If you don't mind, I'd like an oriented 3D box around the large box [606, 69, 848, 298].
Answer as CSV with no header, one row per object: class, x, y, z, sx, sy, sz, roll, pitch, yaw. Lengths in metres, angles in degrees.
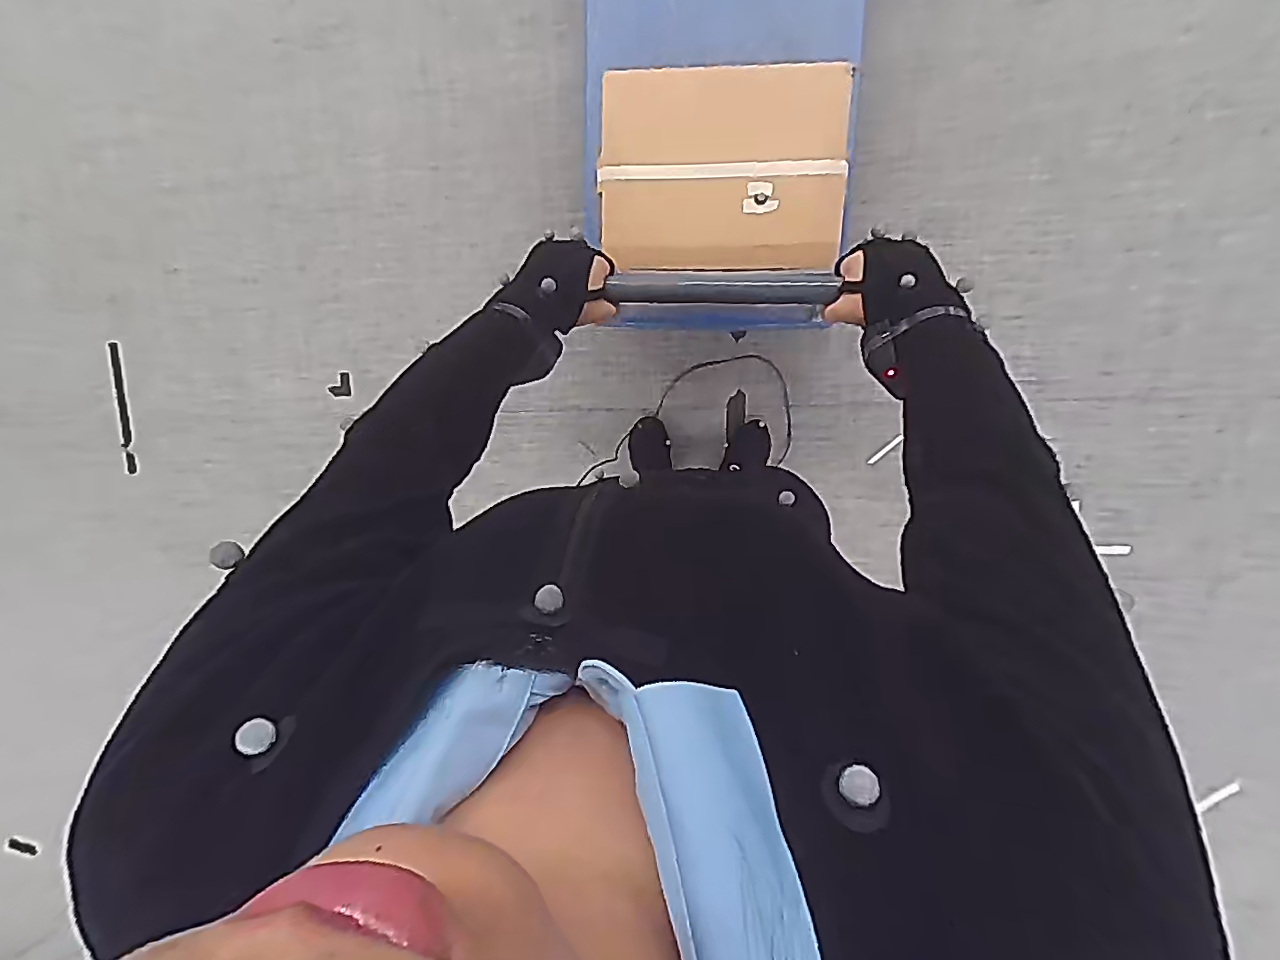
large box,0.152,-0.545,1.065,0.408,0.320,0.320,2,101,5
